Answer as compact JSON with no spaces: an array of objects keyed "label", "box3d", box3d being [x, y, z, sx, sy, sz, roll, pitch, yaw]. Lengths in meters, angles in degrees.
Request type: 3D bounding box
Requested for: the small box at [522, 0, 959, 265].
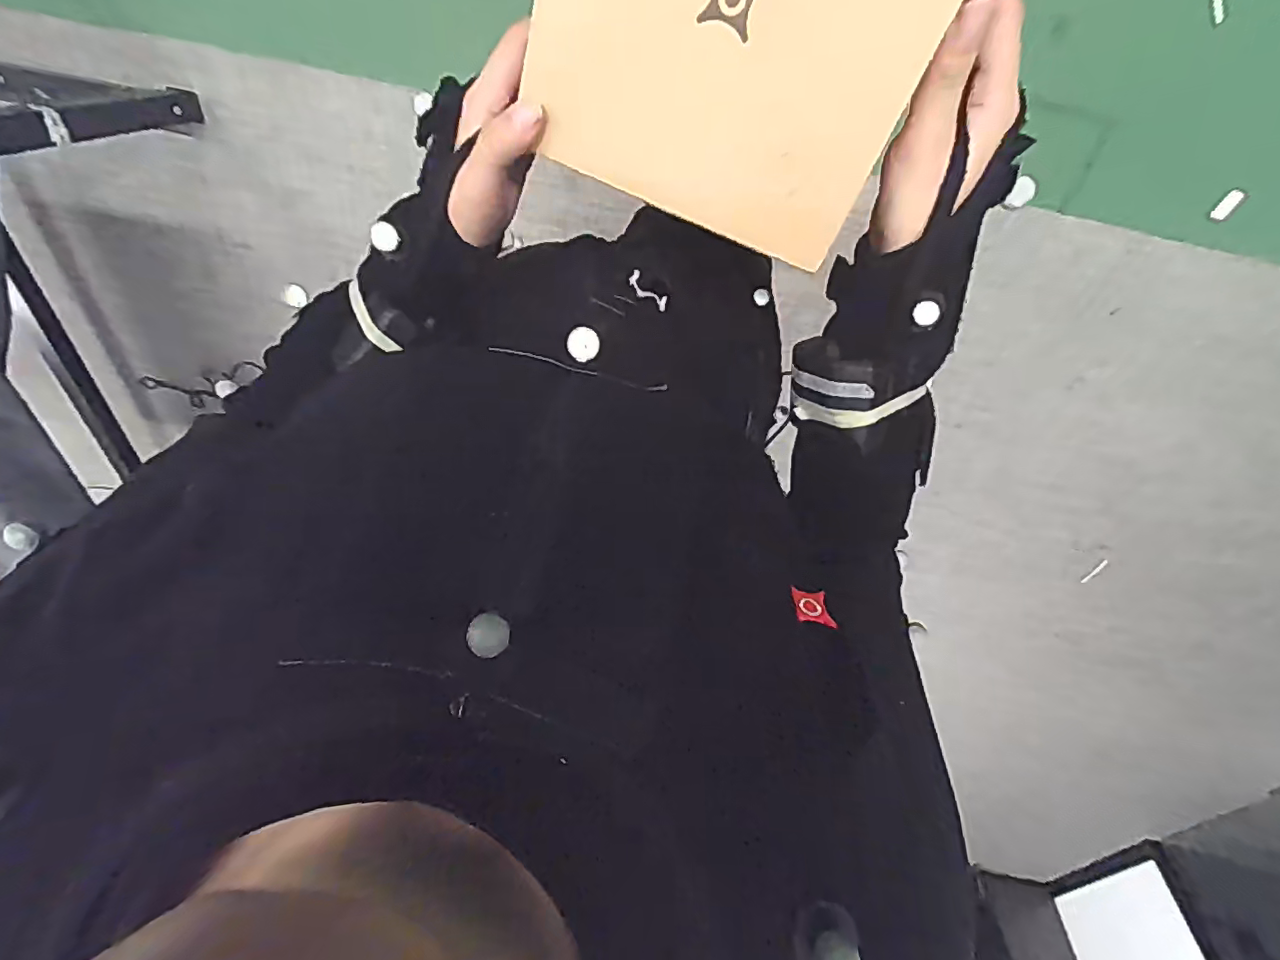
[{"label":"small box","box3d":[0.062,-0.244,0.279,0.168,0.176,0.179,24,127,1]}]
